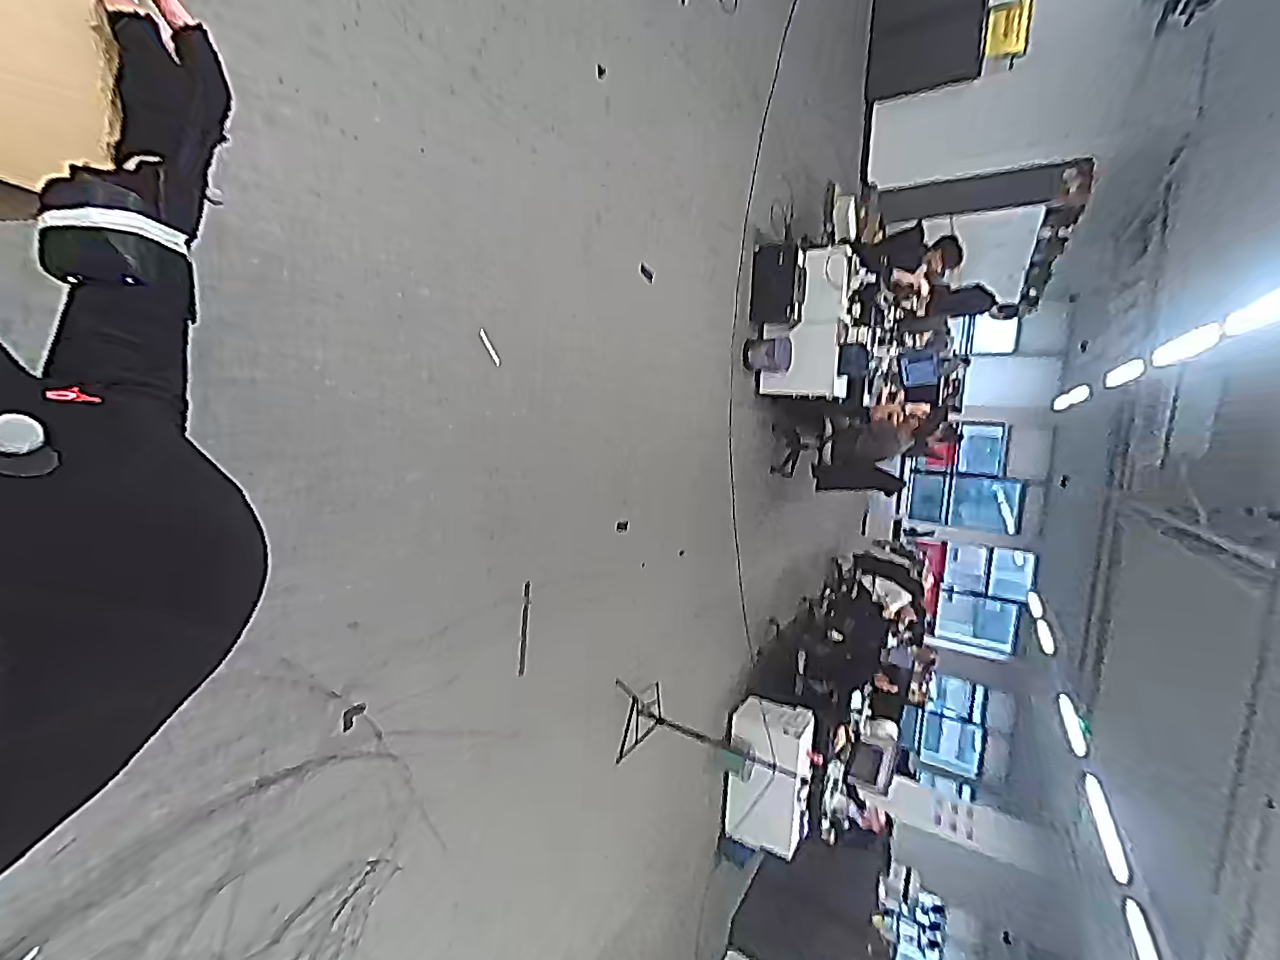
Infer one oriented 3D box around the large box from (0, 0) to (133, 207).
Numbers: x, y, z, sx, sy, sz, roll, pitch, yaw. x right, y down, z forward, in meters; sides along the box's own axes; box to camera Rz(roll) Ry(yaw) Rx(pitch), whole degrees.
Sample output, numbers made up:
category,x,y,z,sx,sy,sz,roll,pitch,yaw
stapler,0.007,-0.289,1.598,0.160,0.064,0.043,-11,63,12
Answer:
category,x,y,z,sx,sy,sz,roll,pitch,yaw
large box,-0.592,-0.386,0.284,0.408,0.320,0.320,2,101,-64
